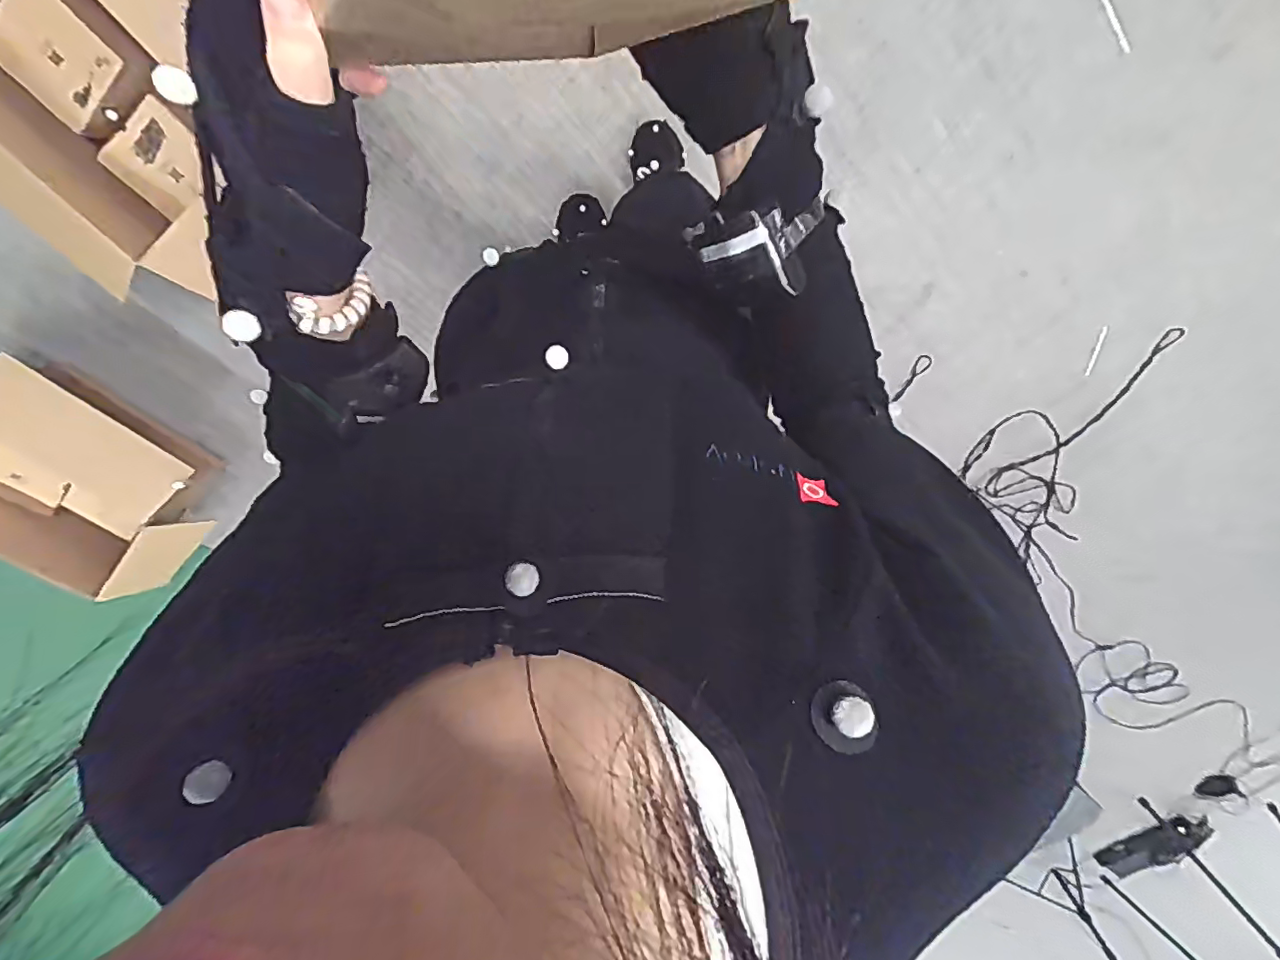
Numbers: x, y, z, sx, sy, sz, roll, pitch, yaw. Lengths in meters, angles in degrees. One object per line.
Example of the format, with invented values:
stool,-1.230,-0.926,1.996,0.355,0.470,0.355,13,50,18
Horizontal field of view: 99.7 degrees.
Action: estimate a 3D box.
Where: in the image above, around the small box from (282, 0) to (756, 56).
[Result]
small box,-0.047,-0.256,0.176,0.168,0.179,0.176,-26,128,-27
